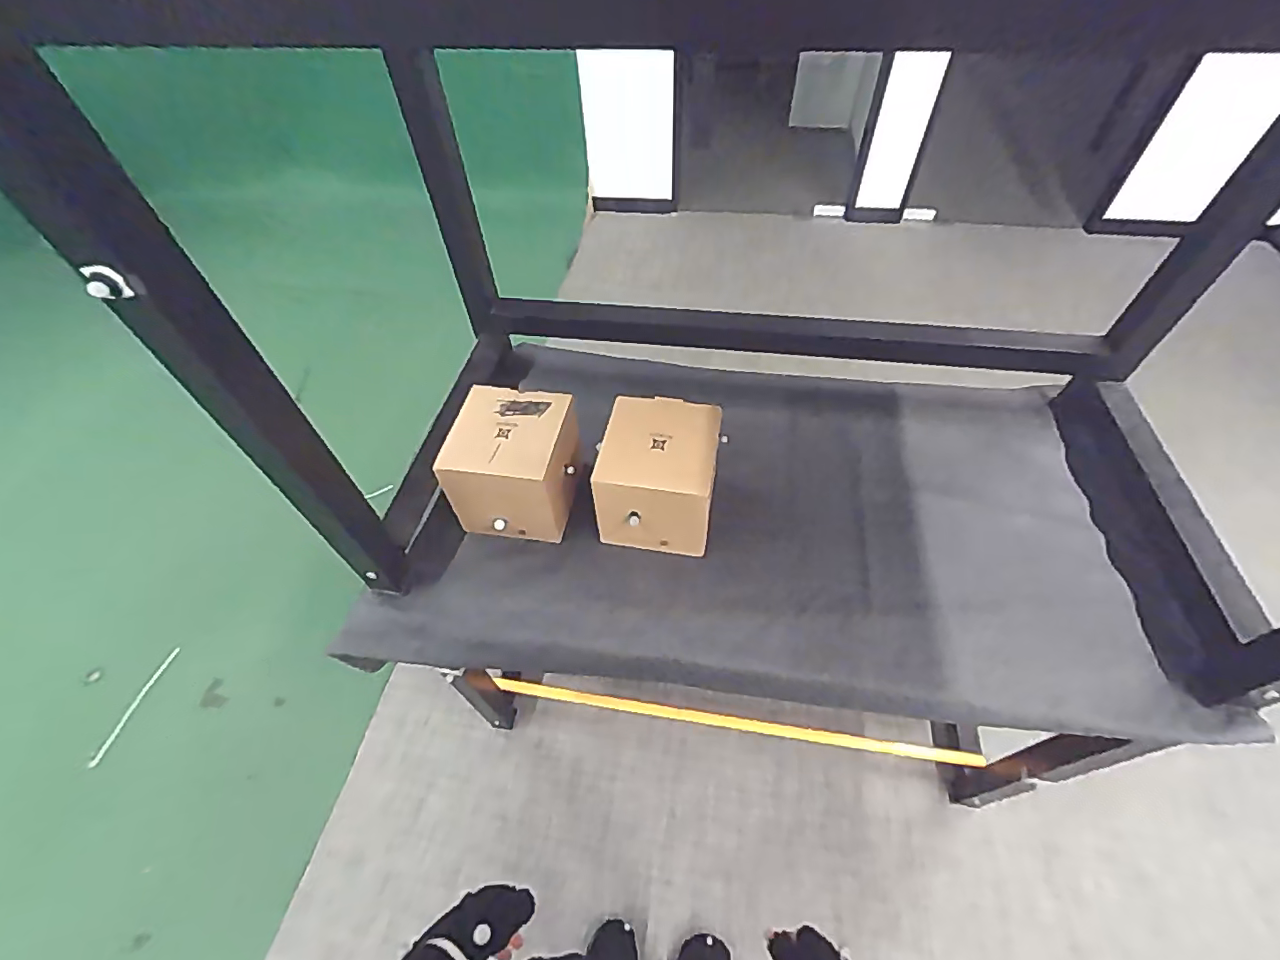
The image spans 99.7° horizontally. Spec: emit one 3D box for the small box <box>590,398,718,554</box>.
[{"bbox_3d":[0.028,-0.003,0.854,0.168,0.176,0.179,7,52,8],"label":"small box"}]

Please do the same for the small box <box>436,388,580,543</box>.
[{"bbox_3d":[-0.198,-0.023,0.875,0.168,0.176,0.179,6,52,7],"label":"small box"}]
